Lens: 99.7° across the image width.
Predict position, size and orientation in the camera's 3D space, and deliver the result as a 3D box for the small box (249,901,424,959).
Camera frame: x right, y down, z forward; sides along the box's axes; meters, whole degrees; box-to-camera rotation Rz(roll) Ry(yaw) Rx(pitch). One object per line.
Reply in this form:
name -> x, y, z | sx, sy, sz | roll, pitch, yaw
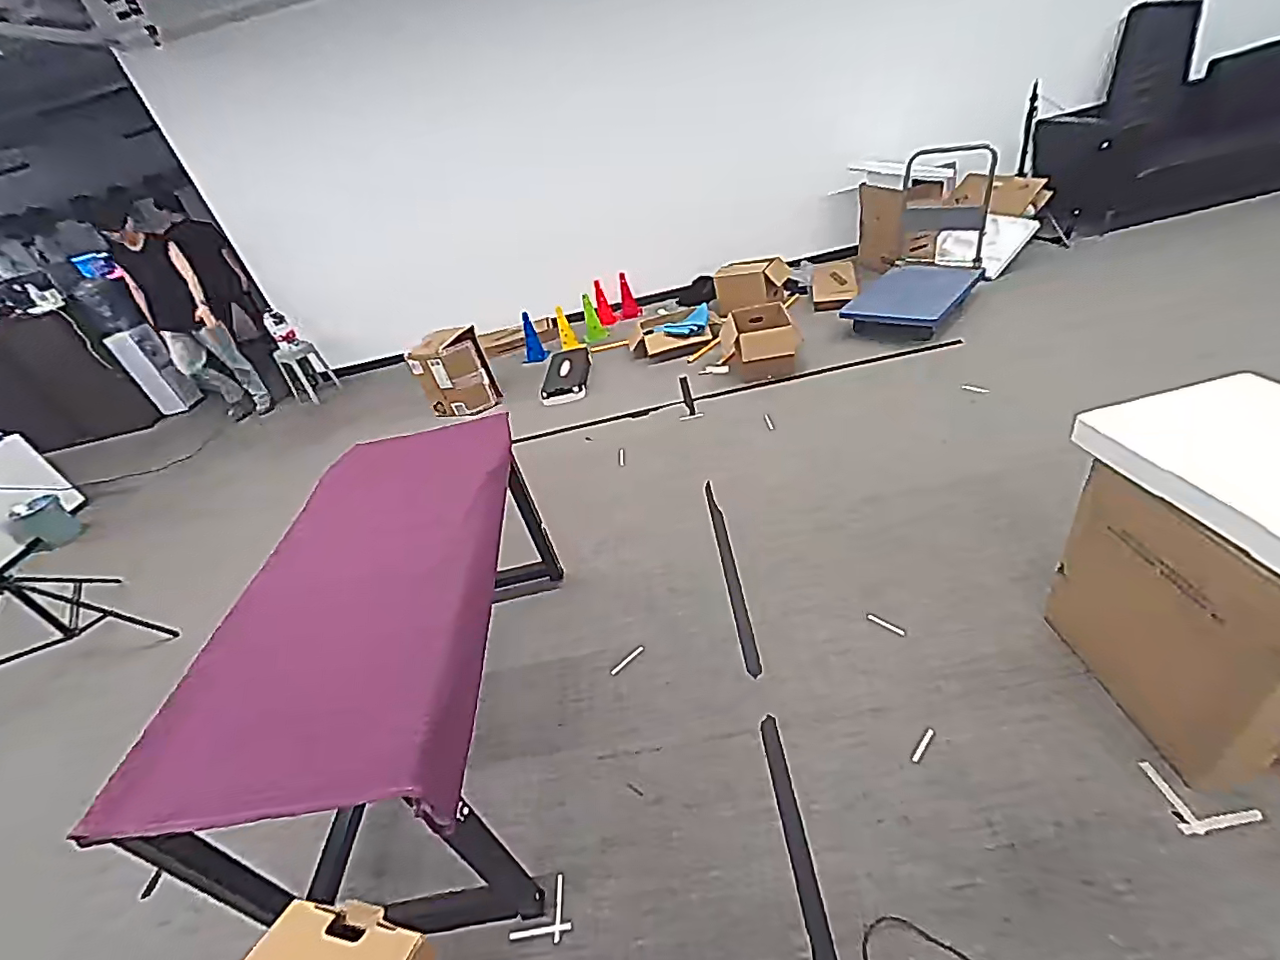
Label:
small box -> -0.283, 0.530, 0.473 | 0.168, 0.176, 0.179 | -3, 20, 20
